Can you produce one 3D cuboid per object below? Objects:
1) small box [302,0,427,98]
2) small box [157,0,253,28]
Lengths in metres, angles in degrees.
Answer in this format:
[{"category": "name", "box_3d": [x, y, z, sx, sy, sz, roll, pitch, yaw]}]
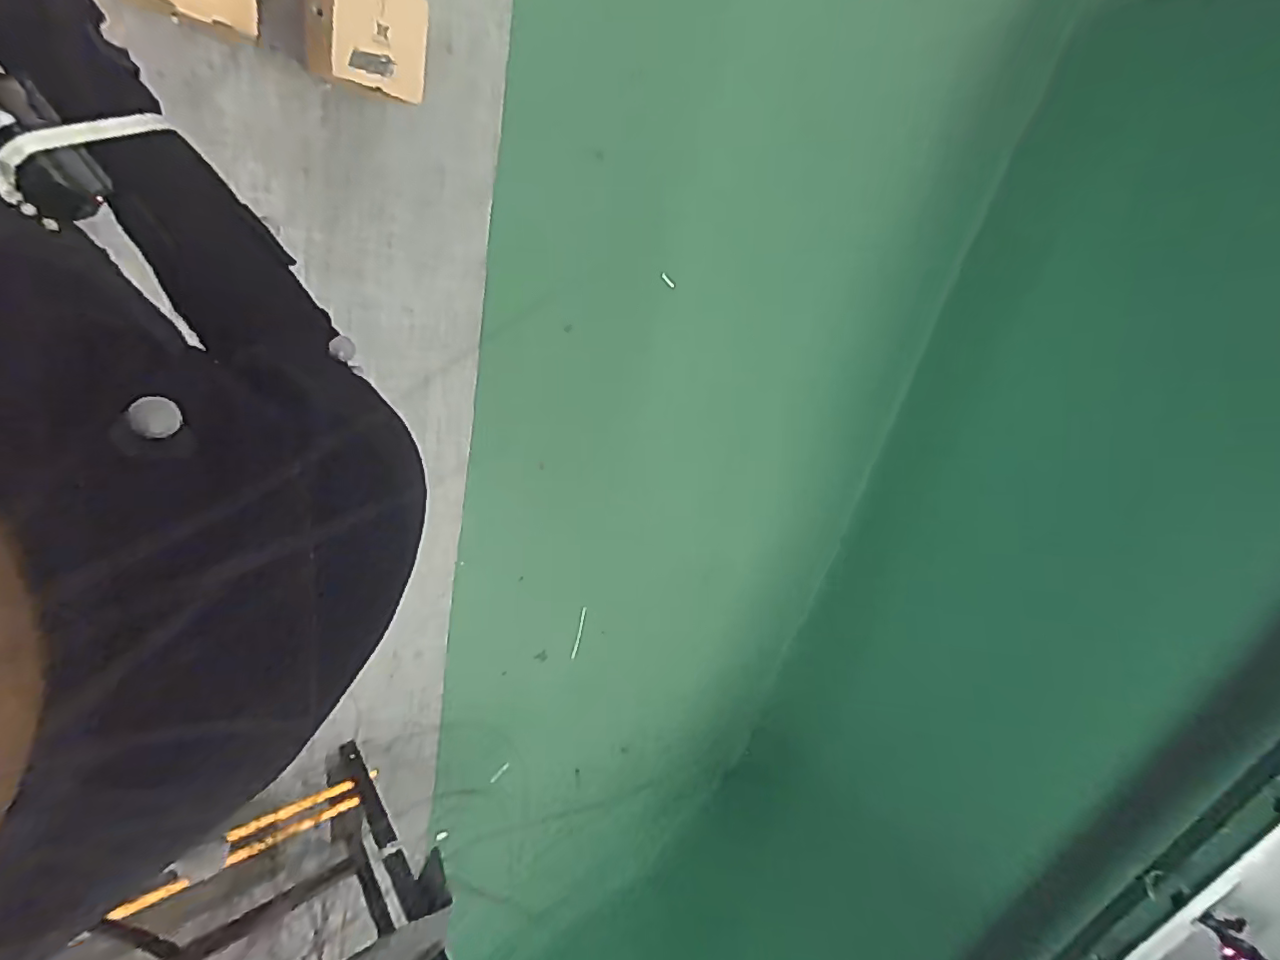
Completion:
[{"category": "small box", "box_3d": [-0.528, -0.860, 1.030, 0.168, 0.176, 0.179, -8, 122, -44]}, {"category": "small box", "box_3d": [-0.717, -0.845, 0.839, 0.168, 0.176, 0.179, -7, 123, -44]}]
